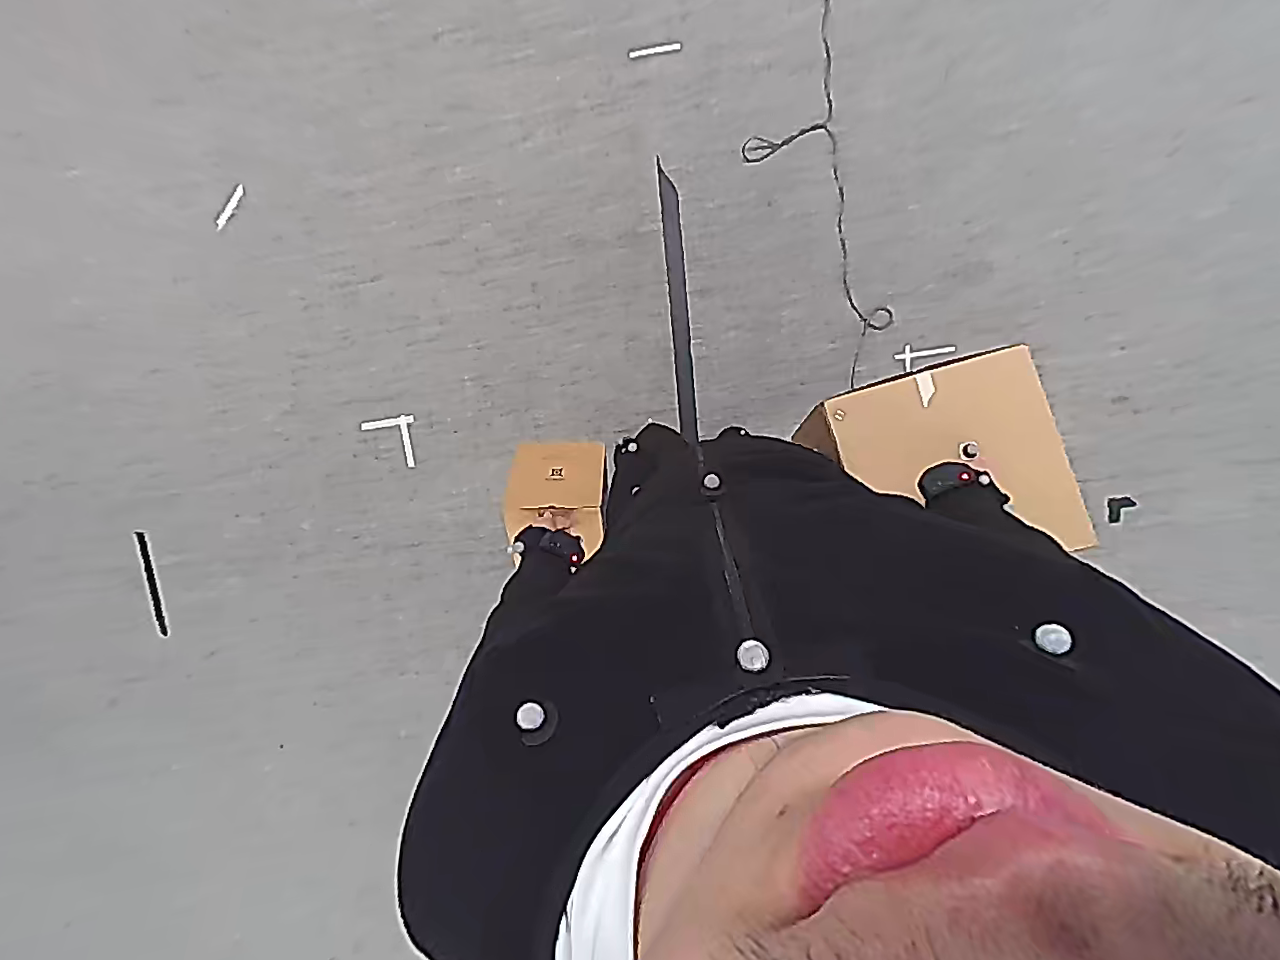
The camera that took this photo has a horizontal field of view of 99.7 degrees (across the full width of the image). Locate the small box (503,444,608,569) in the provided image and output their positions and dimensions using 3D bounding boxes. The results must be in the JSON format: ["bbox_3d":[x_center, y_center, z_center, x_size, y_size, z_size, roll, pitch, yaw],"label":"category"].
[{"bbox_3d":[-0.147,0.051,1.008,0.168,0.179,0.176,-1,131,-1],"label":"small box"}]
